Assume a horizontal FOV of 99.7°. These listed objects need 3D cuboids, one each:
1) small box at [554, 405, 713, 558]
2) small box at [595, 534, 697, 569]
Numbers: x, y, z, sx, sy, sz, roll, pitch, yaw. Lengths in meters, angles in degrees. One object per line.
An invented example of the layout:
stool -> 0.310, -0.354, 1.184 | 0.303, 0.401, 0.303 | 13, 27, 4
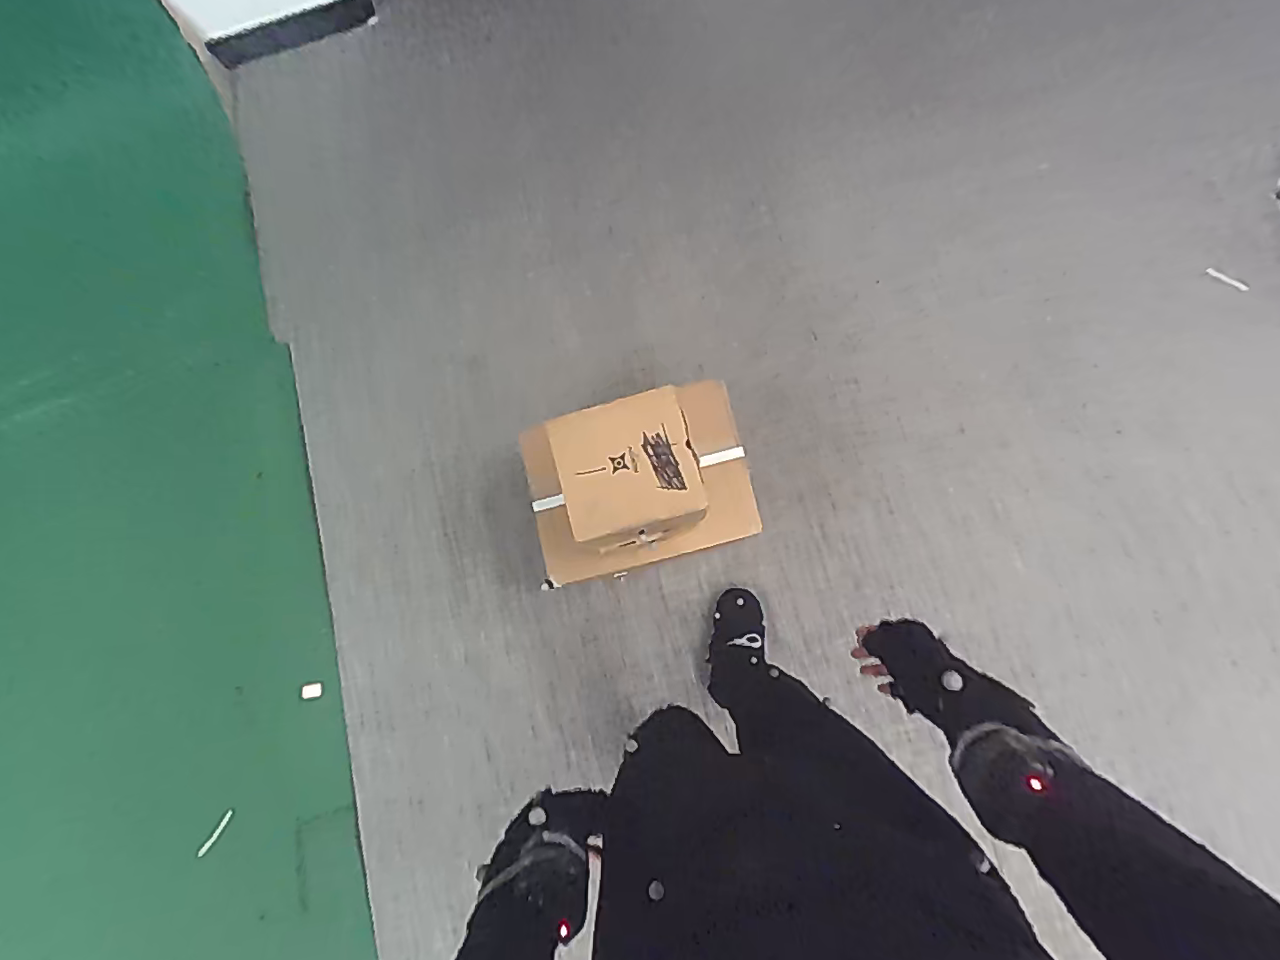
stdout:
small box -> -0.007, 0.011, 0.757 | 0.179, 0.176, 0.168 | -13, 81, 2
small box -> -0.006, 0.043, 0.922 | 0.168, 0.176, 0.179 | -18, 80, 1
